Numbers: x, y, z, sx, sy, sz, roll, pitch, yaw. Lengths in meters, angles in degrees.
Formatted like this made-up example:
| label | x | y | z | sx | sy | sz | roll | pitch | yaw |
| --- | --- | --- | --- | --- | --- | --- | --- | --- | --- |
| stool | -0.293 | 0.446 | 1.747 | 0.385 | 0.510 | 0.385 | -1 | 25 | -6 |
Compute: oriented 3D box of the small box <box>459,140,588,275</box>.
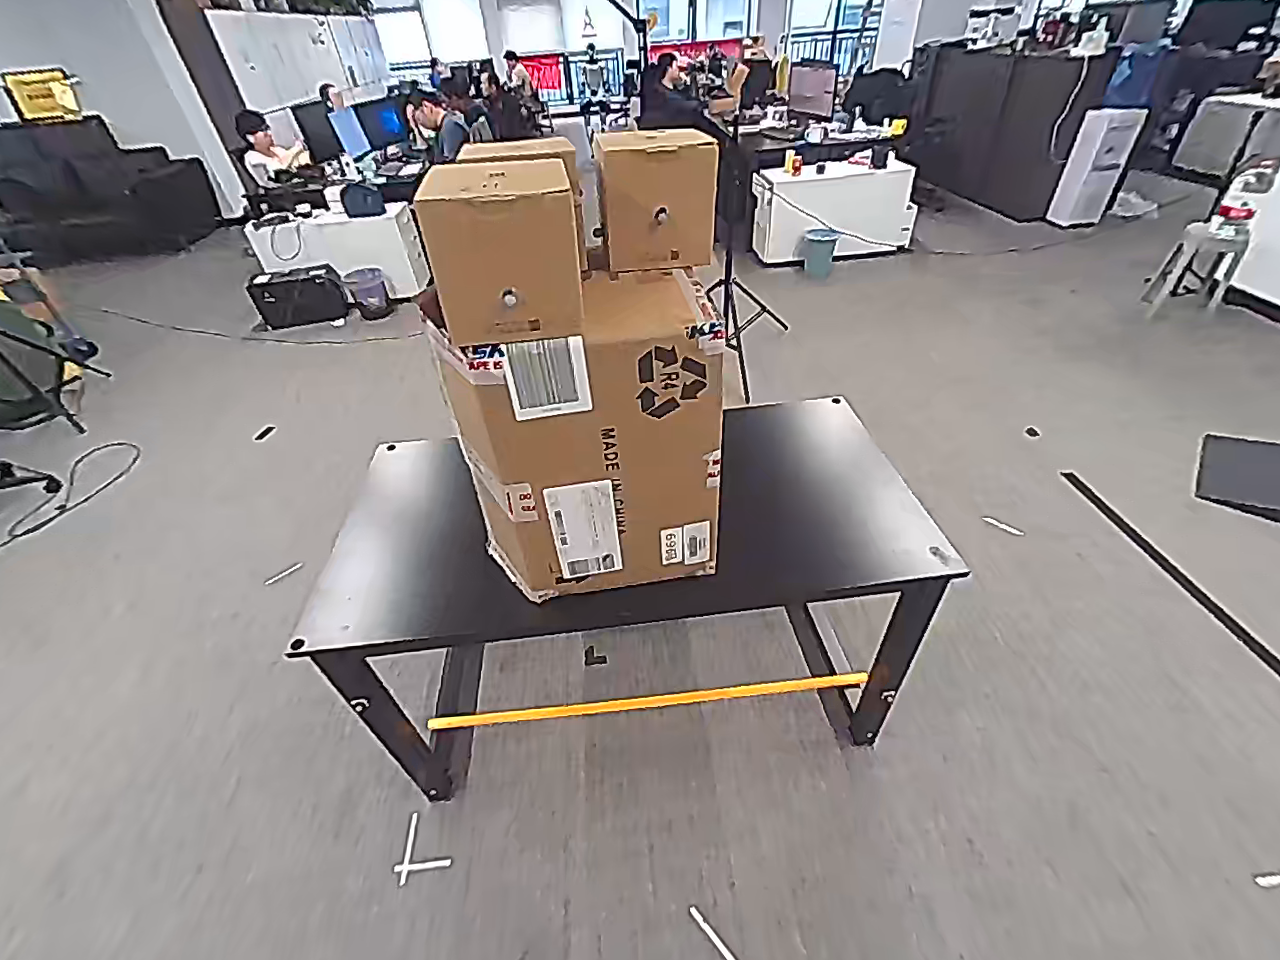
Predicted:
| label | x | y | z | sx | sy | sz | roll | pitch | yaw |
| --- | --- | --- | --- | --- | --- | --- | --- | --- | --- |
| small box | -0.182 | -0.430 | 0.864 | 0.168 | 0.176 | 0.179 | -10 | 39 | -8 |

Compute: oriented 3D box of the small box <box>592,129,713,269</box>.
| label | x | y | z | sx | sy | sz | roll | pitch | yaw |
| --- | --- | --- | --- | --- | --- | --- | --- | --- | --- |
| small box | 0.017 | -0.447 | 0.867 | 0.168 | 0.176 | 0.179 | -6 | 40 | -5 |

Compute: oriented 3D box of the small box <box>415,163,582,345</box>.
| label | x | y | z | sx | sy | sz | roll | pitch | yaw |
| --- | --- | --- | --- | --- | --- | --- | --- | --- | --- |
| small box | -0.168 | -0.290 | 0.689 | 0.168 | 0.176 | 0.179 | -7 | 41 | -6 |
